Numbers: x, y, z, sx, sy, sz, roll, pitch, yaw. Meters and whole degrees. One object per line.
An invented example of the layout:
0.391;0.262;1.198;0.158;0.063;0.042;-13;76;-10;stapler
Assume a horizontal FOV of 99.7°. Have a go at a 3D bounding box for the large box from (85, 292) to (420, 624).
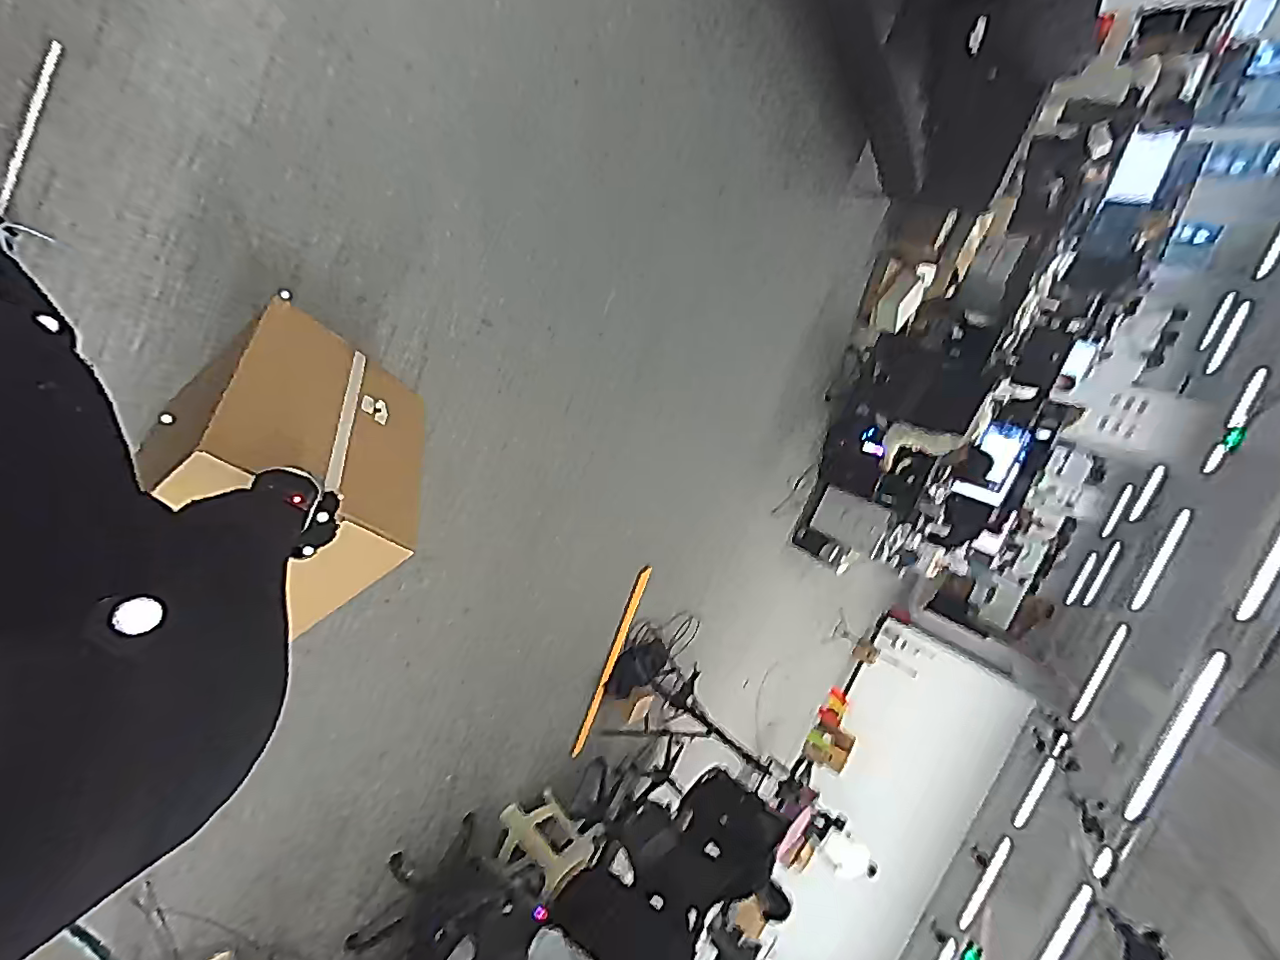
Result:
-0.607;-0.031;0.924;0.320;0.408;0.320;-34;135;14;large box
